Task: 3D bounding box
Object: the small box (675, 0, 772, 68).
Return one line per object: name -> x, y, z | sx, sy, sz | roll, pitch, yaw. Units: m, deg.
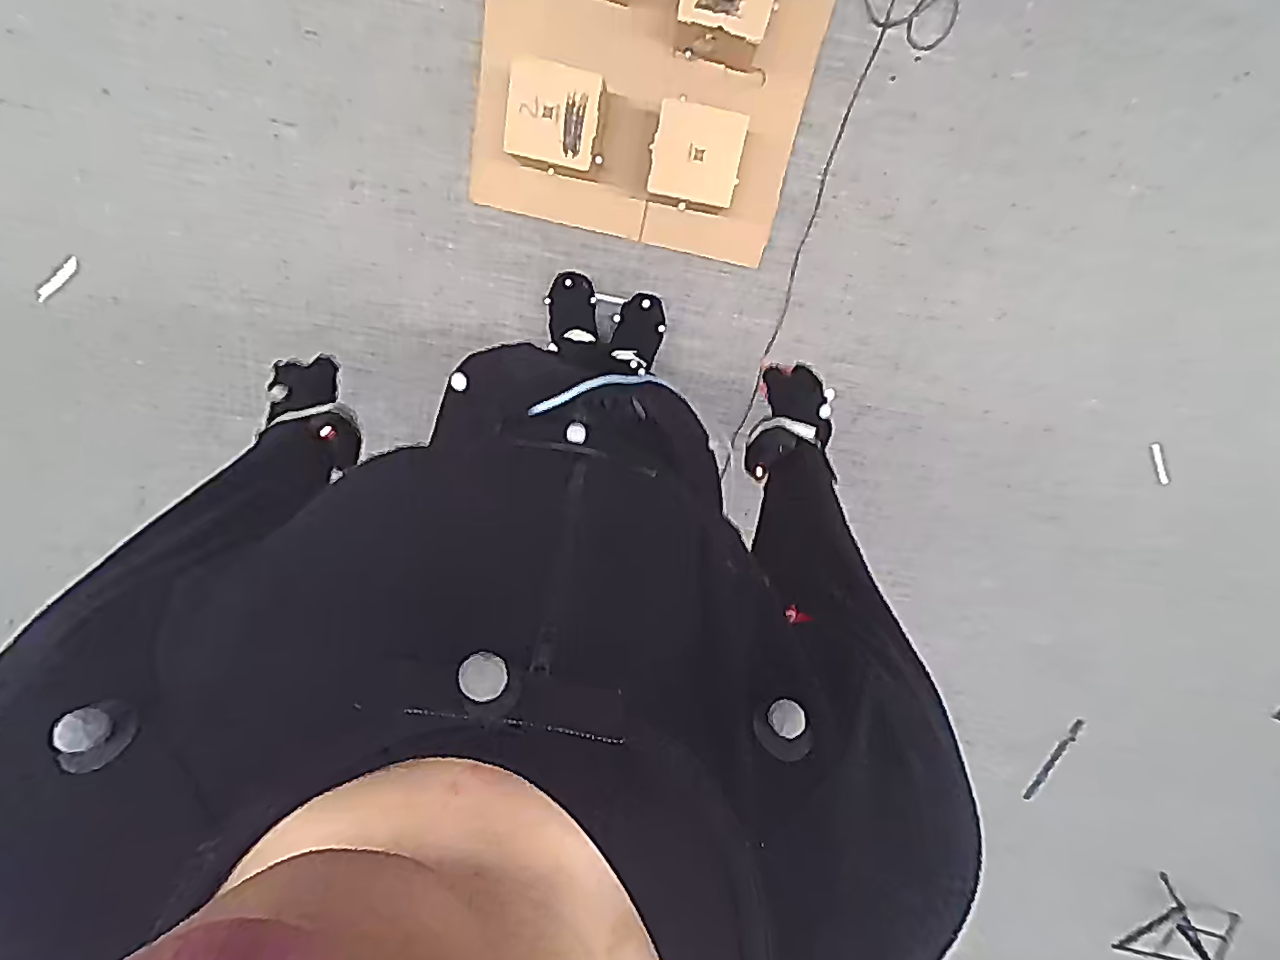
small box -> 0.170, -0.931, 1.035 | 0.168, 0.176, 0.179 | 15, 112, -4
